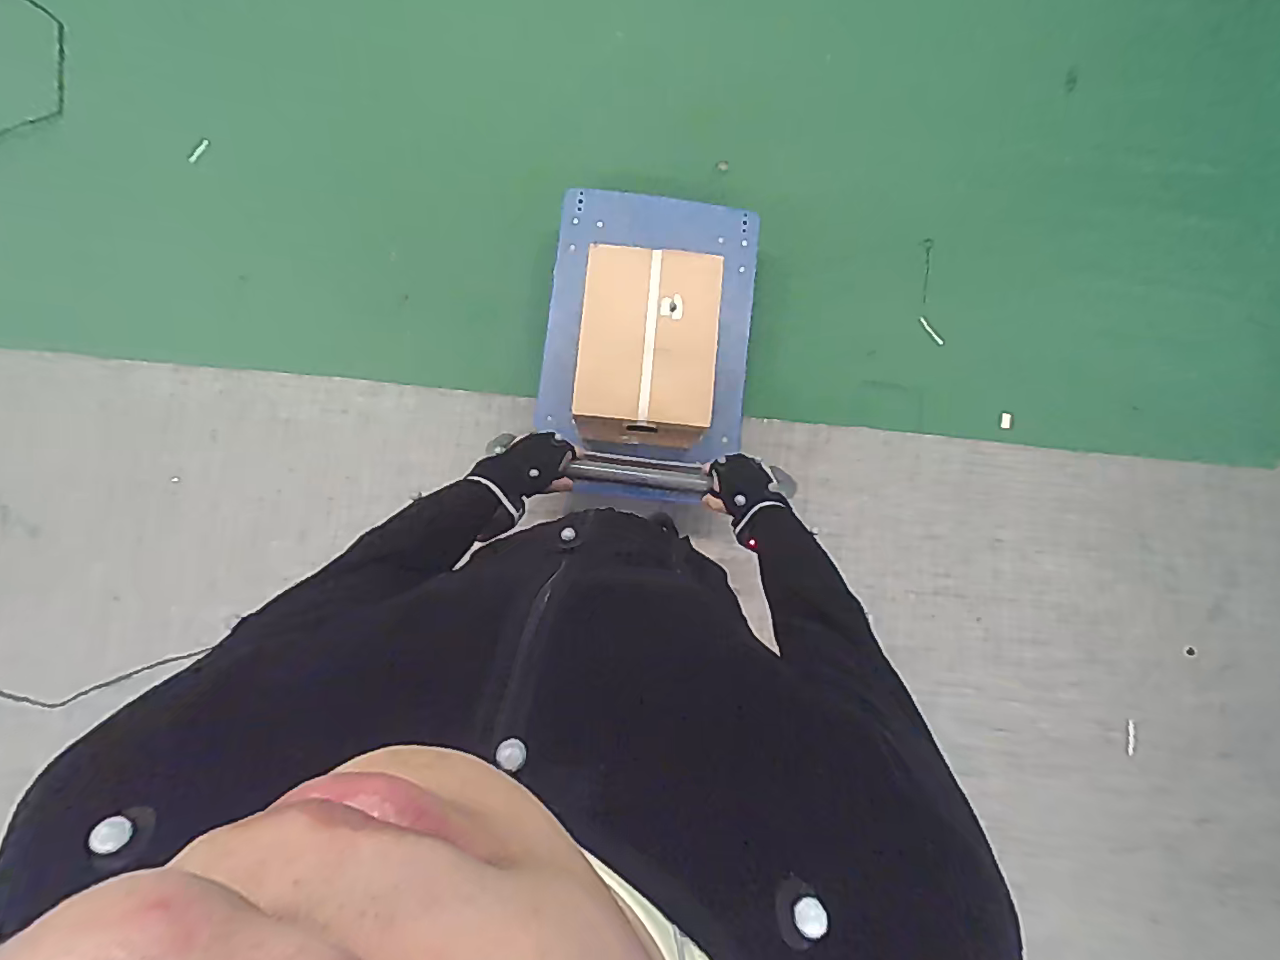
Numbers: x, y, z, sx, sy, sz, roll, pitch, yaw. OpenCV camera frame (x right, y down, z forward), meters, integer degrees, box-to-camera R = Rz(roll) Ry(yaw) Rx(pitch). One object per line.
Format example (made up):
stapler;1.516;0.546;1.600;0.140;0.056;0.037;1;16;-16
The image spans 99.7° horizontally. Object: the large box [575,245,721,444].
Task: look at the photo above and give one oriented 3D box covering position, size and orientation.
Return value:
large box;0.018;-0.319;1.378;0.320;0.320;0.408;6;84;-2
